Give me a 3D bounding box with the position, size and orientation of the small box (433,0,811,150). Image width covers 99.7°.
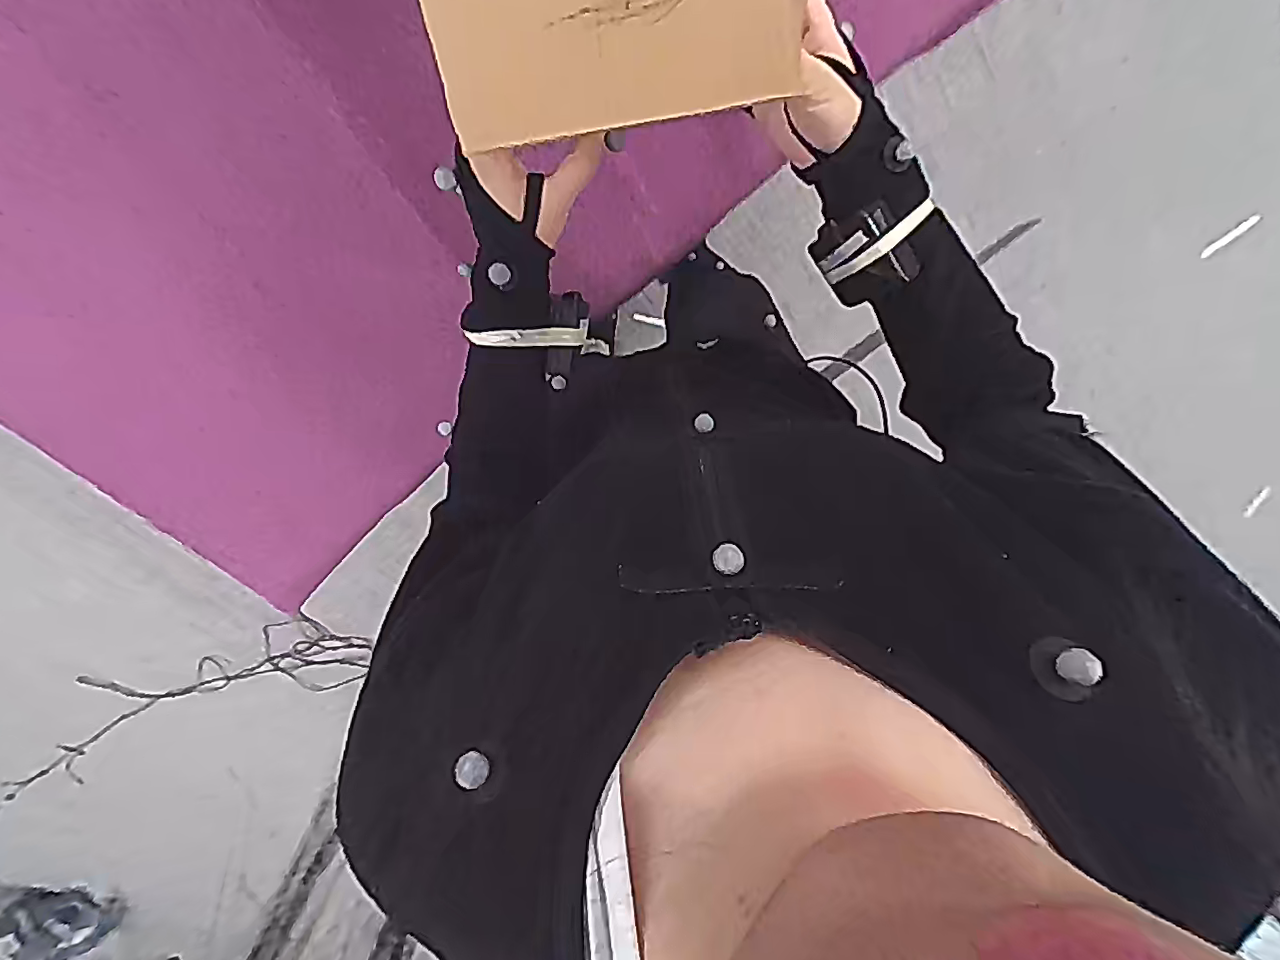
[{"bbox_3d":[-0.013,-0.285,0.276,0.168,0.176,0.179,-6,126,4],"label":"small box"}]

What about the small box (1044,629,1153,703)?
[{"bbox_3d":[1.469,0.601,1.748,0.179,0.176,0.168,7,116,-11],"label":"small box"}]
